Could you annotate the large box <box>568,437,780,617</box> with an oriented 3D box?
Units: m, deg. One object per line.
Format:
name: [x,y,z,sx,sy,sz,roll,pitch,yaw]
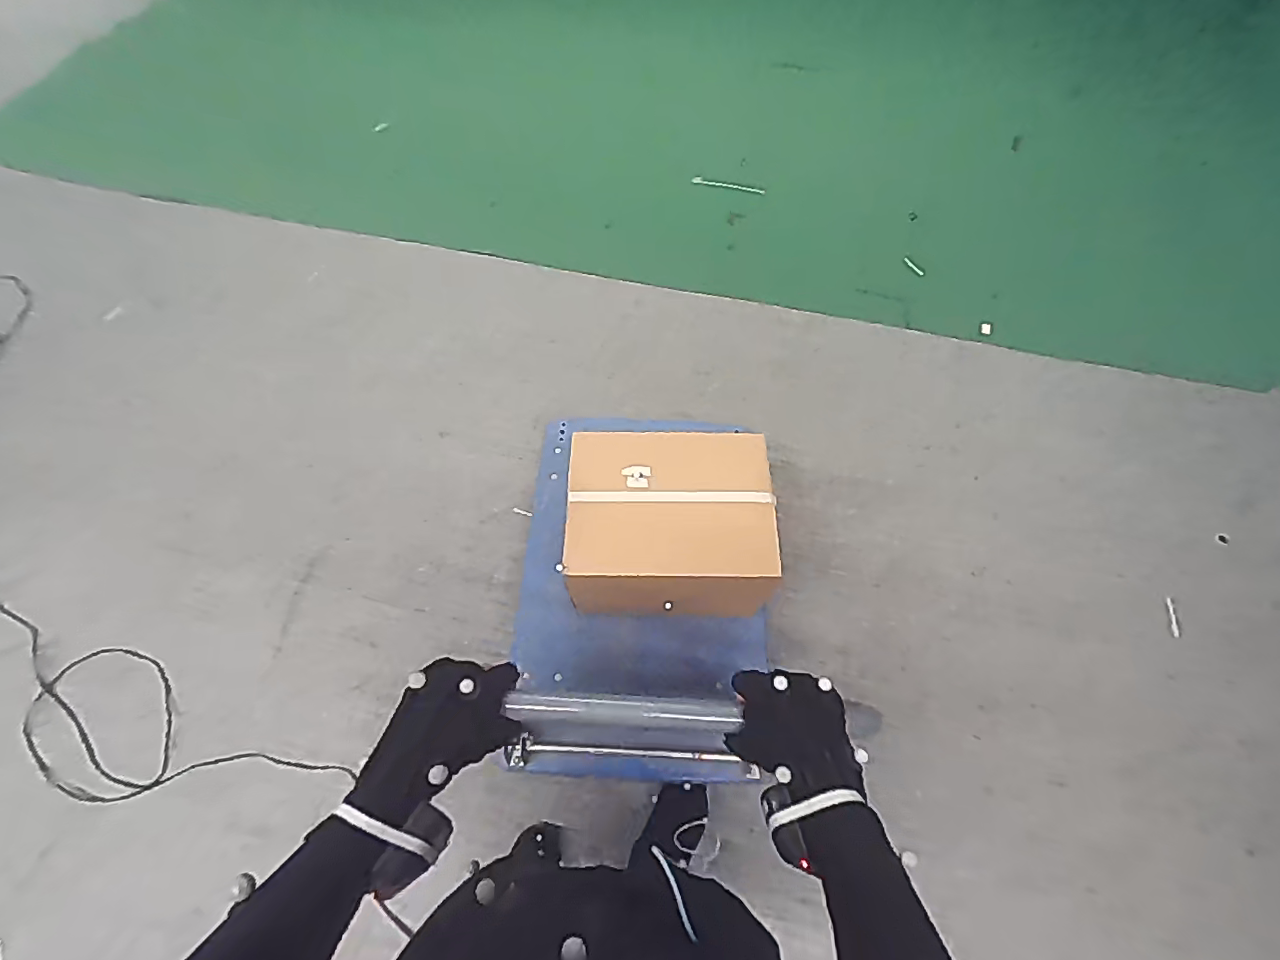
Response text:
large box: [0.063,0.118,1.207,0.408,0.320,0.320,-1,62,0]
